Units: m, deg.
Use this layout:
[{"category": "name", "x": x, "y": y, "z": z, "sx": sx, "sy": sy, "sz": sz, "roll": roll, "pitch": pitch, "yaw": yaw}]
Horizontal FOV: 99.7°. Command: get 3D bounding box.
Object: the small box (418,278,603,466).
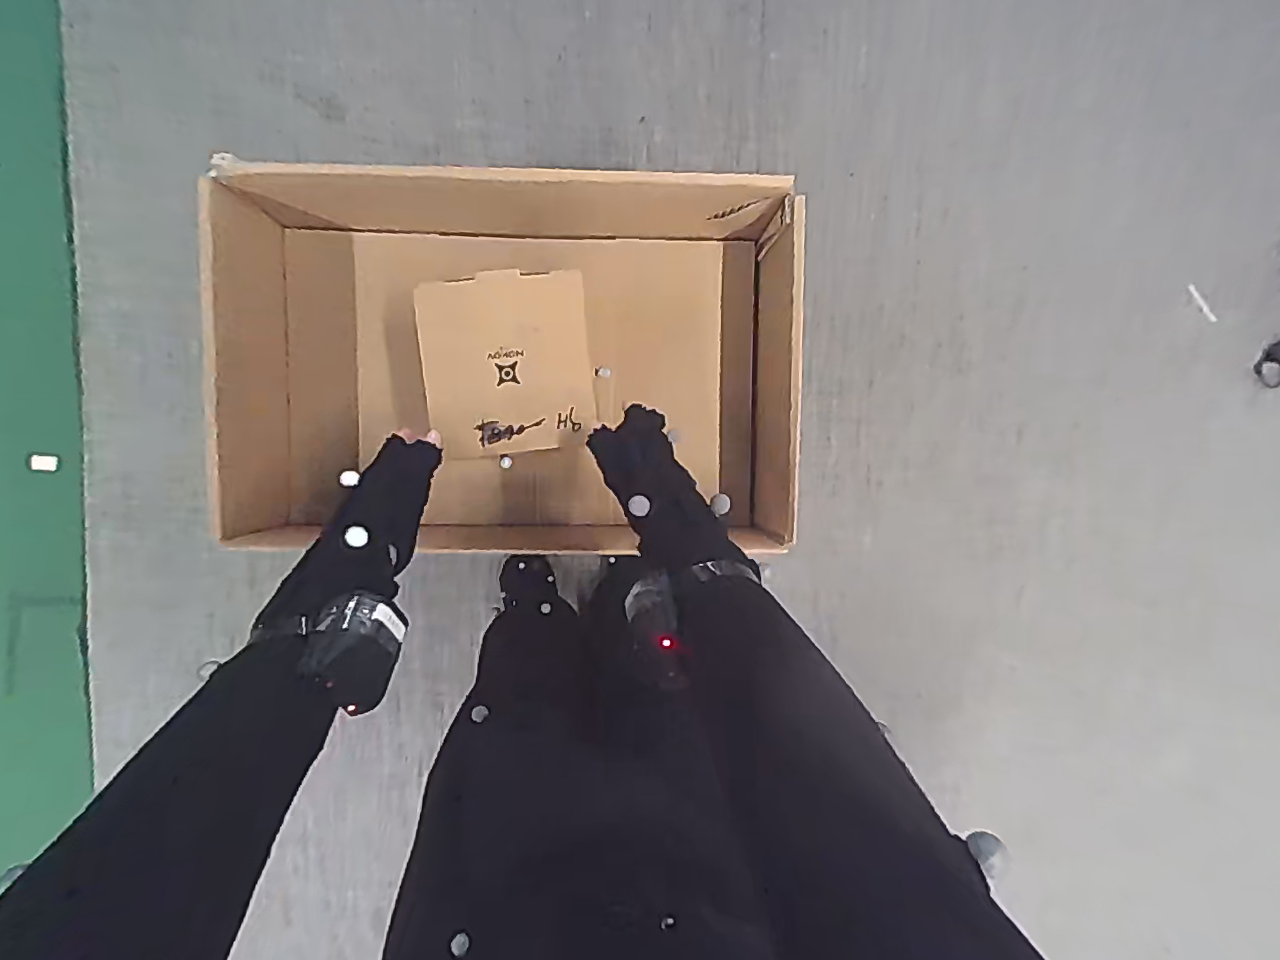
[{"category": "small box", "x": -0.134, "y": -0.110, "z": 0.620, "sx": 0.168, "sy": 0.176, "sz": 0.179, "roll": -7, "pitch": 92, "yaw": -1}]
